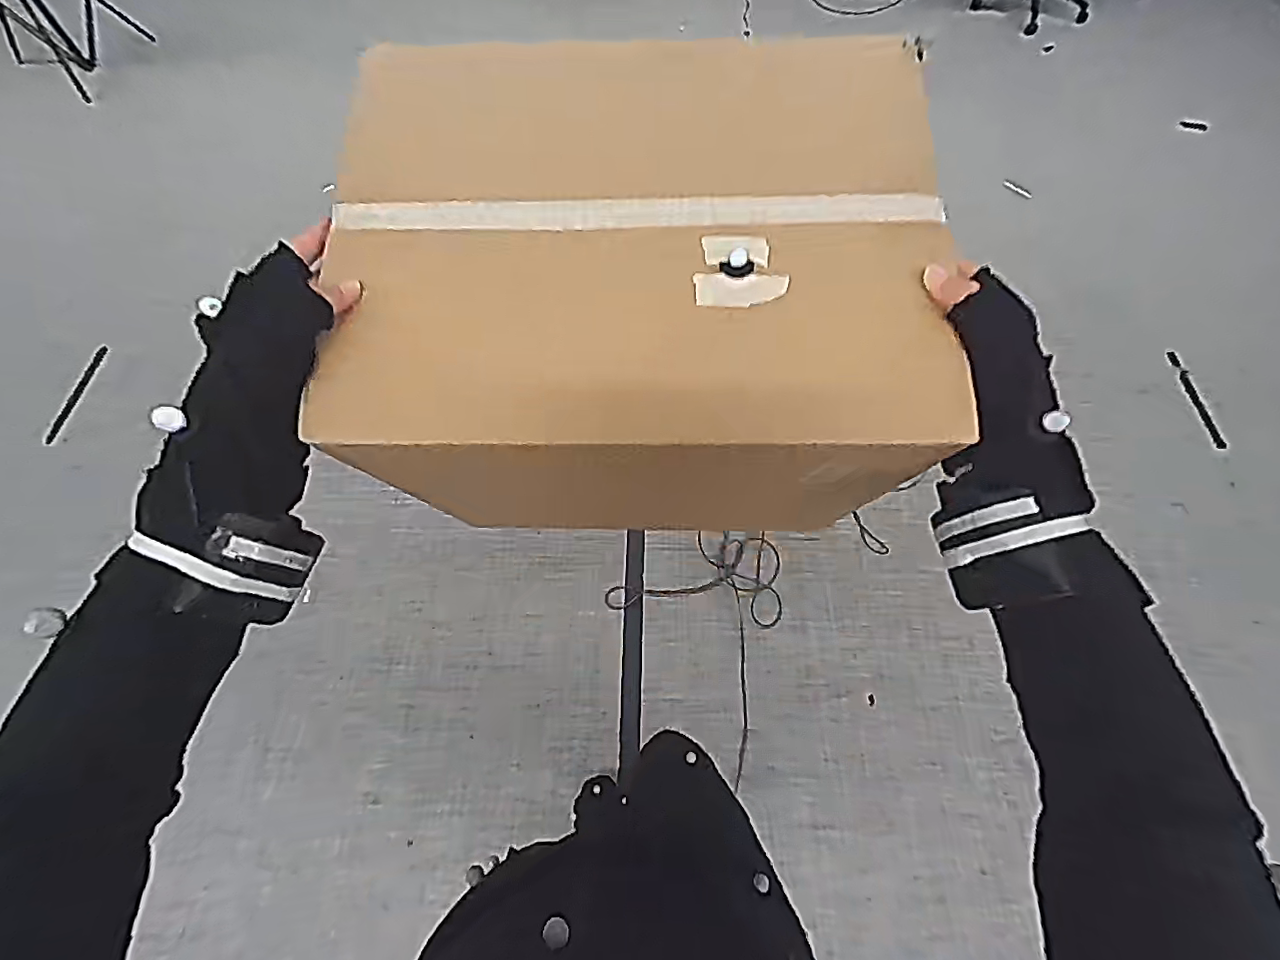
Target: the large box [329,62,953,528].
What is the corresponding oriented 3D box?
[{"bbox_3d":[0.000,-0.133,0.522,0.408,0.320,0.320,0,75,2],"label":"large box"}]
